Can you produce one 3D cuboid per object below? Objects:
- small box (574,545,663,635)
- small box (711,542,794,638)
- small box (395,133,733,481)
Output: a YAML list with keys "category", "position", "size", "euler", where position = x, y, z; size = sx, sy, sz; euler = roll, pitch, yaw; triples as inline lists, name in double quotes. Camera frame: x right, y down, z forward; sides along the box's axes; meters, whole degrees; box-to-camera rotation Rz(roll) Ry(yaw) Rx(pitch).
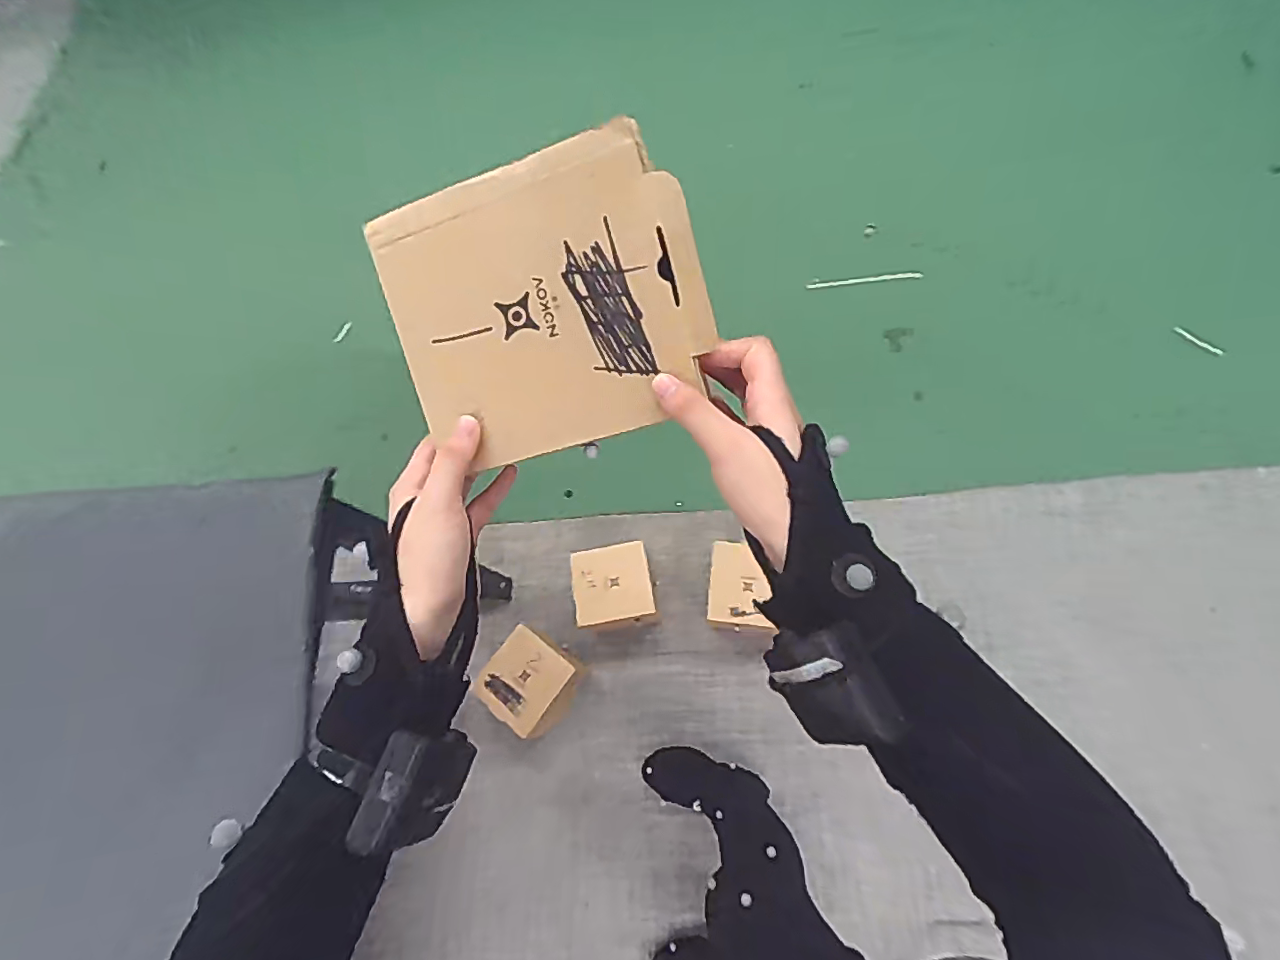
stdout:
- category: "small box"
  position: [-0.044, 0.262, 1.262]
  size: [0.179, 0.176, 0.168]
  euler: [-12, 68, 4]
- category: "small box"
  position: [0.249, 0.253, 1.222]
  size: [0.168, 0.176, 0.179]
  euler: [5, 71, 9]
- category: "small box"
  position: [-0.034, -0.108, 0.398]
  size: [0.179, 0.176, 0.168]
  euler: [-13, 97, 13]
